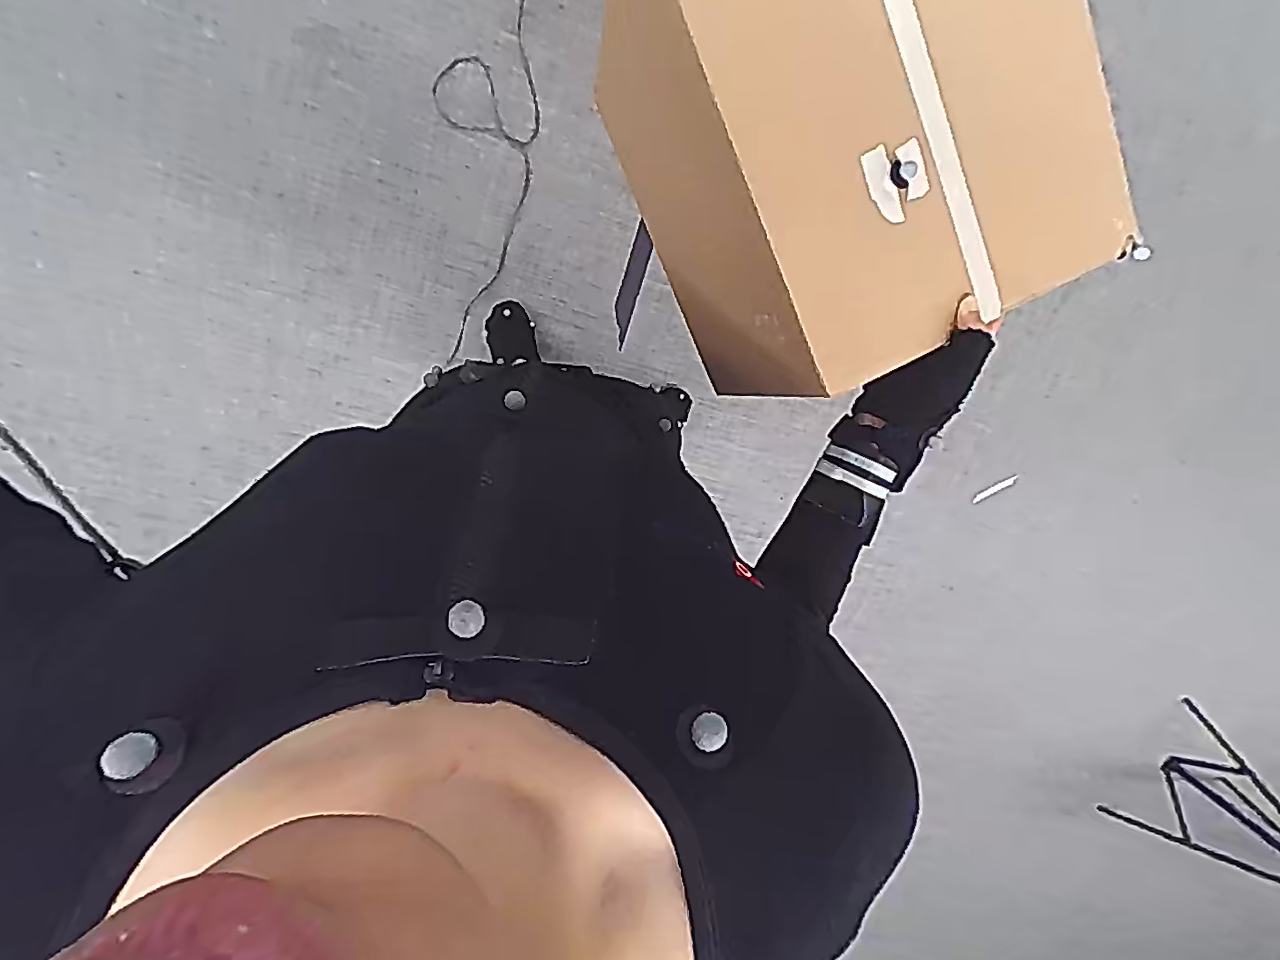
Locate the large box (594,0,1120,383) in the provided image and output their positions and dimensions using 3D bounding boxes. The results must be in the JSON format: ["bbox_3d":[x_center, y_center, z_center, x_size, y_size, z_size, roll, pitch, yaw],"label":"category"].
[{"bbox_3d":[0.184,-0.349,0.571,0.320,0.320,0.408,-27,103,-3],"label":"large box"}]
